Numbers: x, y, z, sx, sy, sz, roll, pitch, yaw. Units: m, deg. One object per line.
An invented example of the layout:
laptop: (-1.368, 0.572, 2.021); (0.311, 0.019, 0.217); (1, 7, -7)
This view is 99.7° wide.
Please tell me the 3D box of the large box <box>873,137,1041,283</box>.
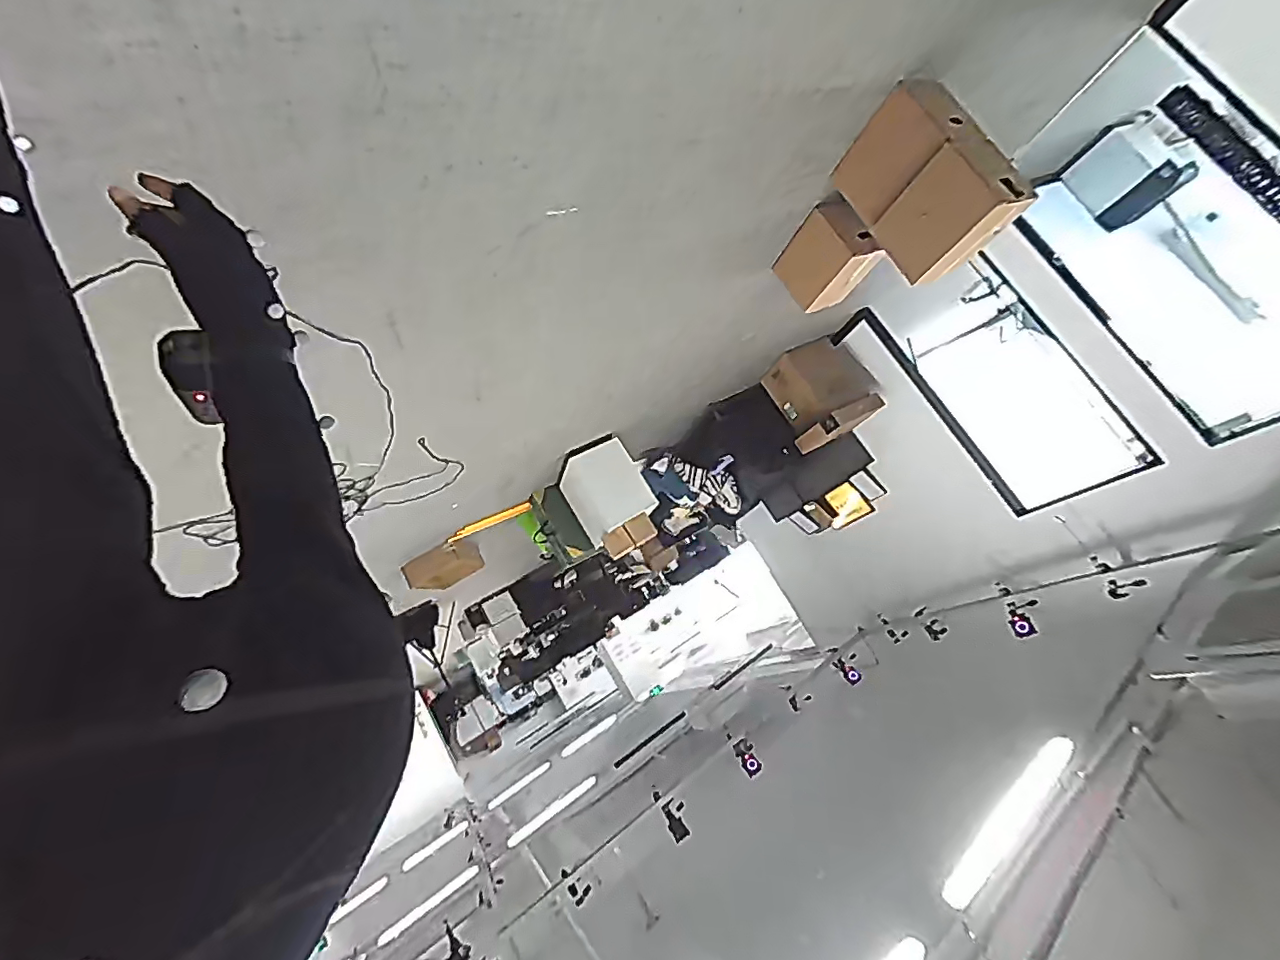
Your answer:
large box: (1.211, -1.042, 2.106); (0.320, 0.320, 0.408); (-22, 165, -29)
